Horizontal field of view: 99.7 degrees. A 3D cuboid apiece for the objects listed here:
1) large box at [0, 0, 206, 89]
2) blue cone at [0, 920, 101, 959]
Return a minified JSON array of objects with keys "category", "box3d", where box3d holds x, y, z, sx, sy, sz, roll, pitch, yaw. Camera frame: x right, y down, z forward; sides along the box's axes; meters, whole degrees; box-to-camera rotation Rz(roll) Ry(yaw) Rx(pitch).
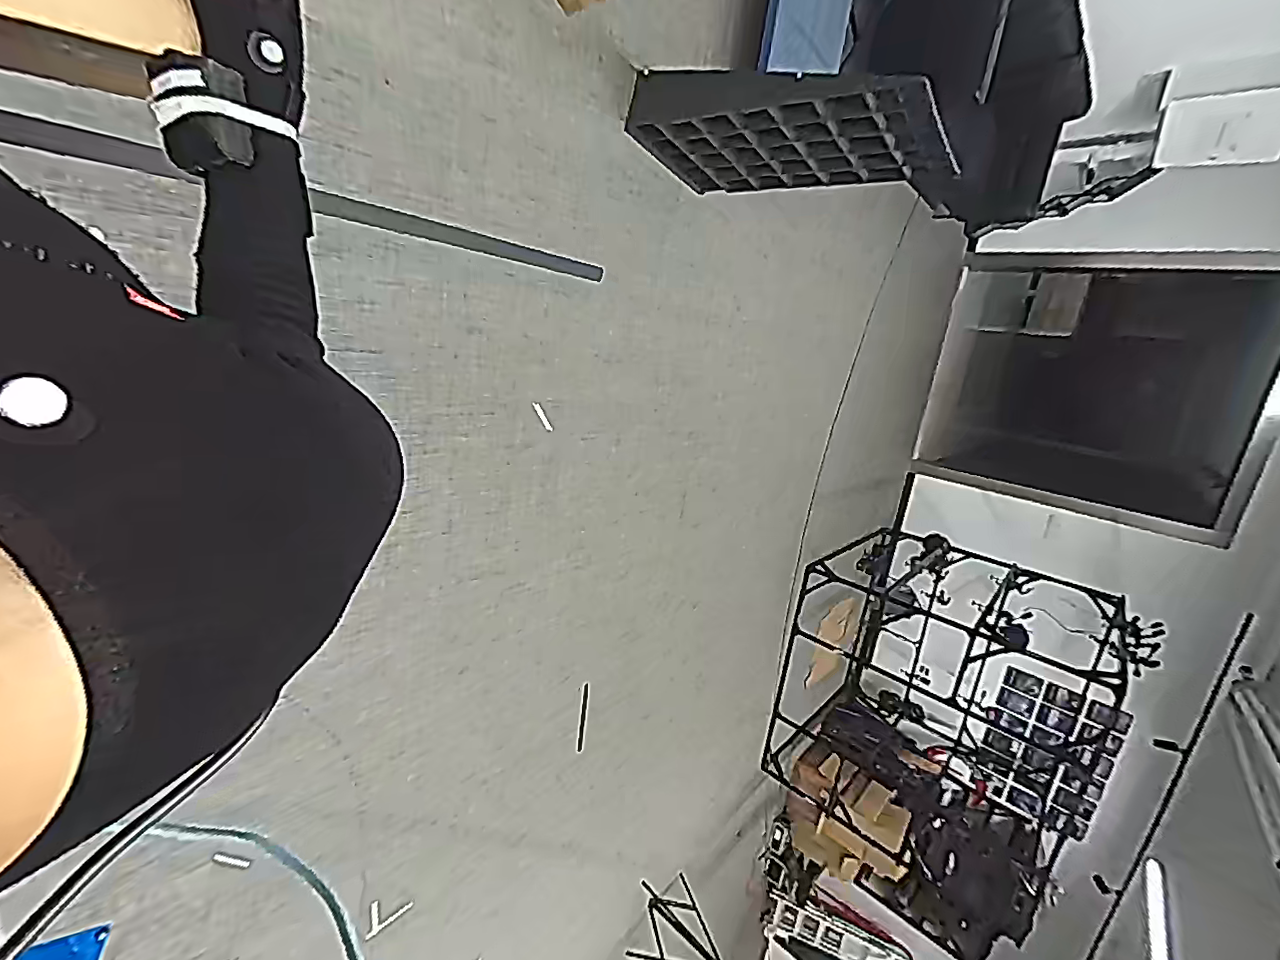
[{"category":"large box","box3d":[-0.542,-0.456,0.286,0.408,0.320,0.320,-17,124,-45]},{"category":"blue cone","box3d":[-1.287,1.190,1.160,0.193,0.380,0.192,24,86,-53]}]
